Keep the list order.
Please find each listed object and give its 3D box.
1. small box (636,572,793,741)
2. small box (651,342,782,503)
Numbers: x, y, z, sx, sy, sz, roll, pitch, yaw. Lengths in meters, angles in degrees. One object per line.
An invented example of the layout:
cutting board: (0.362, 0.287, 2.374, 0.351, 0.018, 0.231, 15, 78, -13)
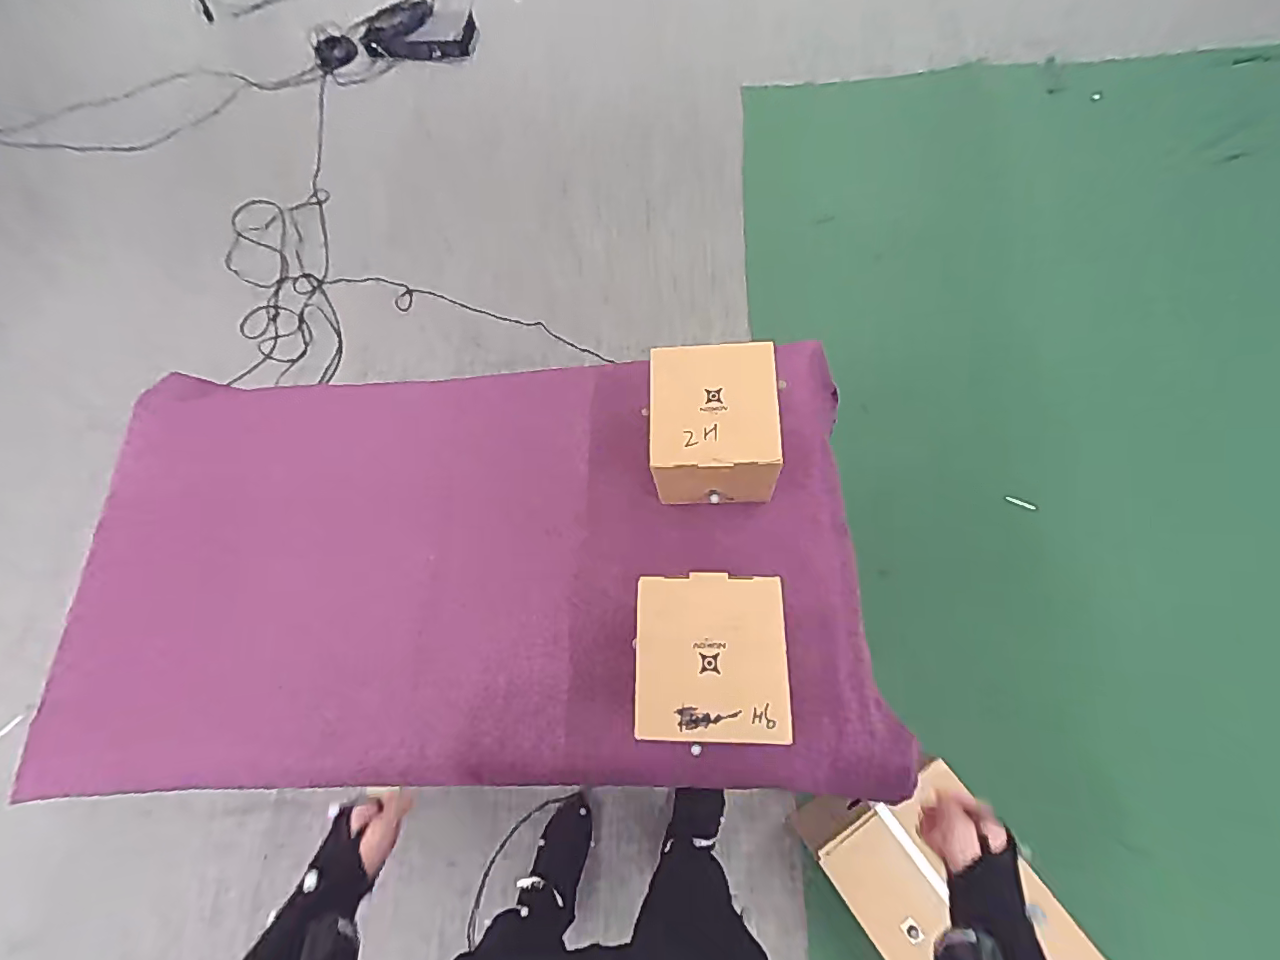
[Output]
small box: (0.088, 0.220, 0.668, 0.168, 0.176, 0.179, -1, 67, 7)
small box: (0.106, -0.075, 0.776, 0.168, 0.176, 0.179, -2, 71, 8)
